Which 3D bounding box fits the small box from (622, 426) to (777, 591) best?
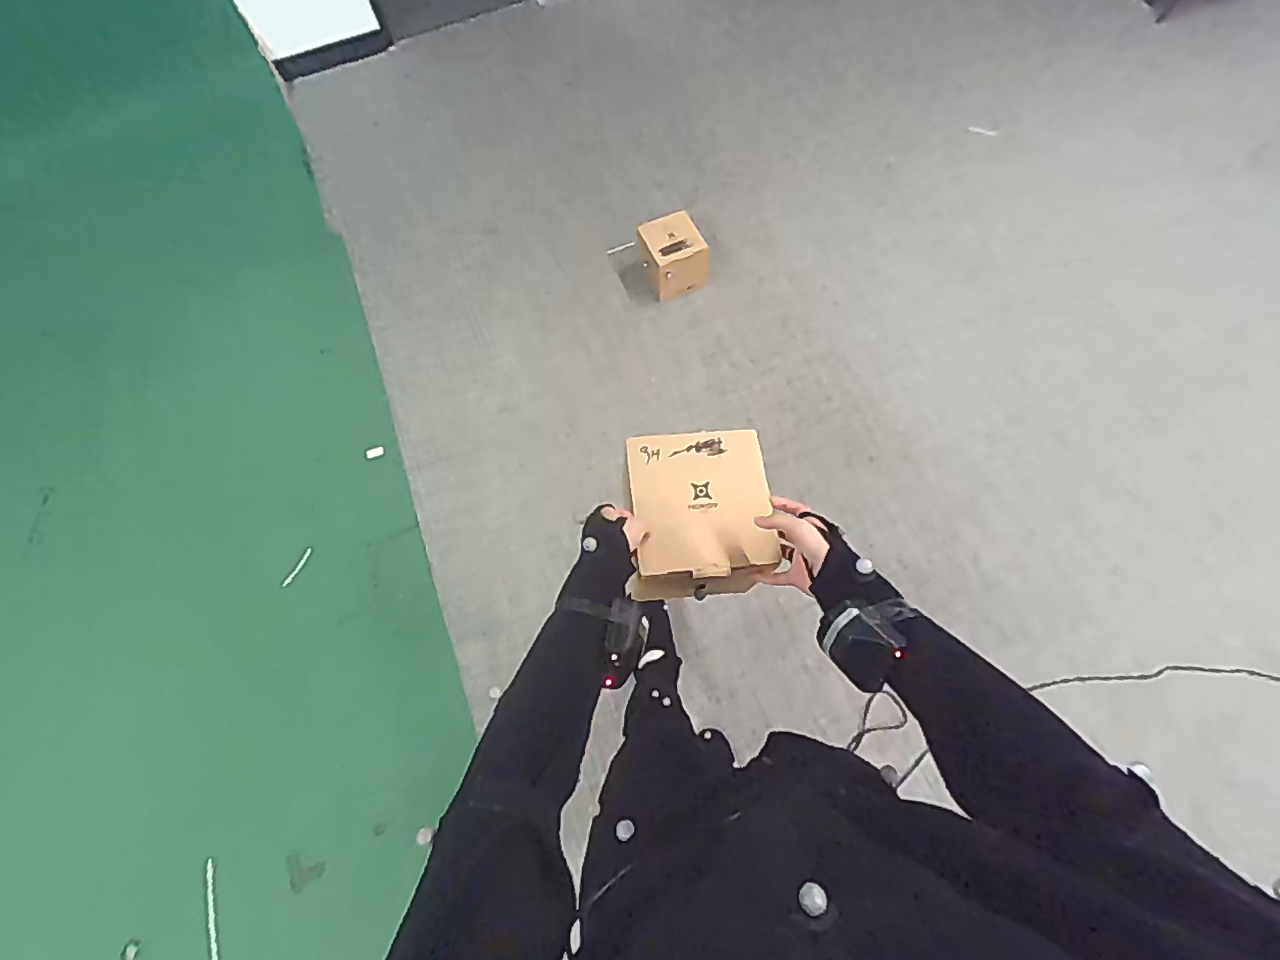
[{"bbox_3d":[0.064,0.046,0.706,0.168,0.176,0.179,-3,69,-5],"label":"small box"}]
